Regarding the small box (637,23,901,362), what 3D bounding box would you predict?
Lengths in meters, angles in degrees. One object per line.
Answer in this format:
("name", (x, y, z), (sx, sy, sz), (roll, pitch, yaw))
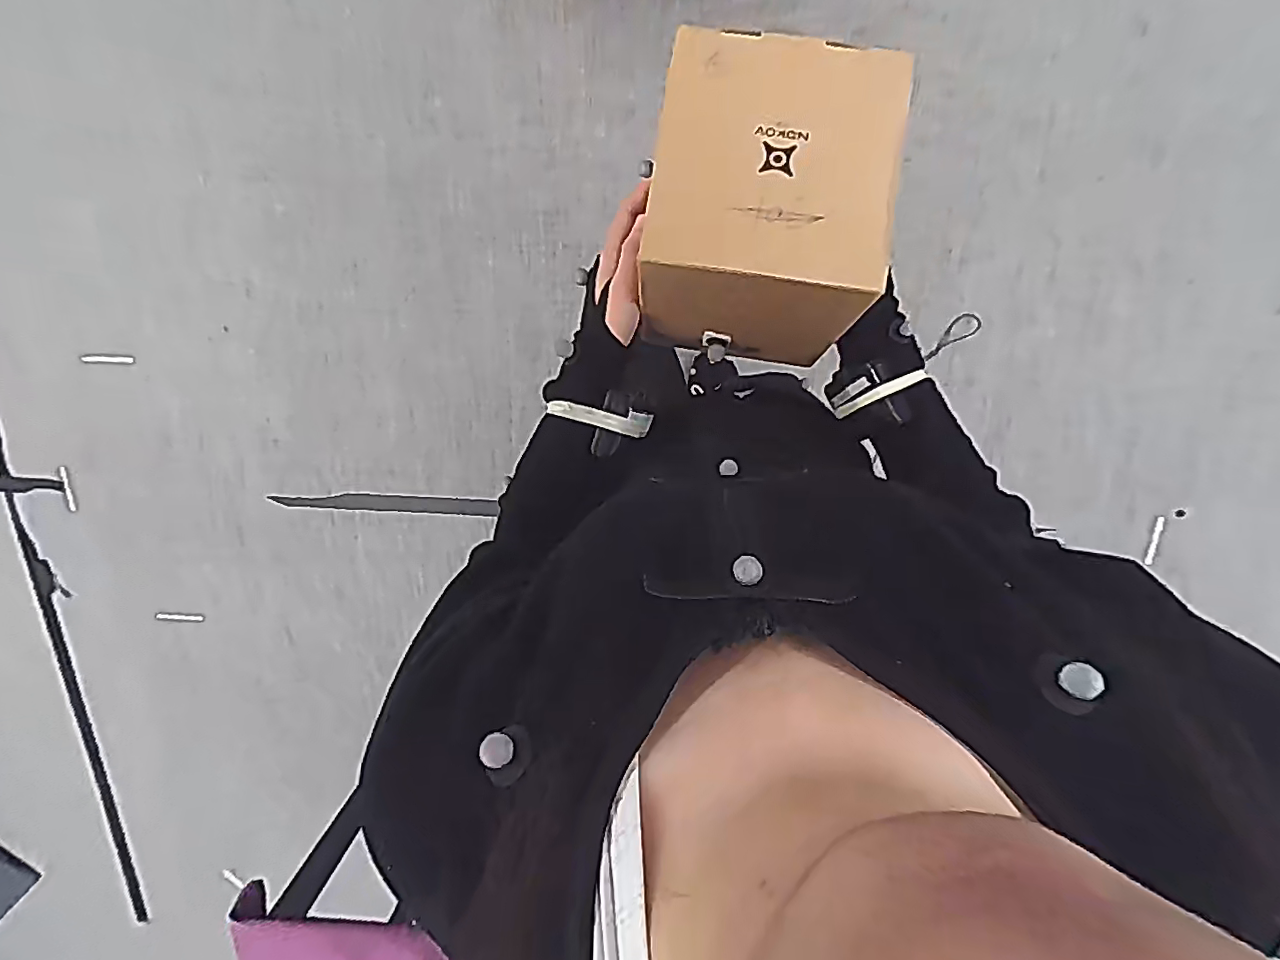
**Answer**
("small box", (0.091, -0.216, 0.449), (0.168, 0.176, 0.179), (8, 85, 2))
